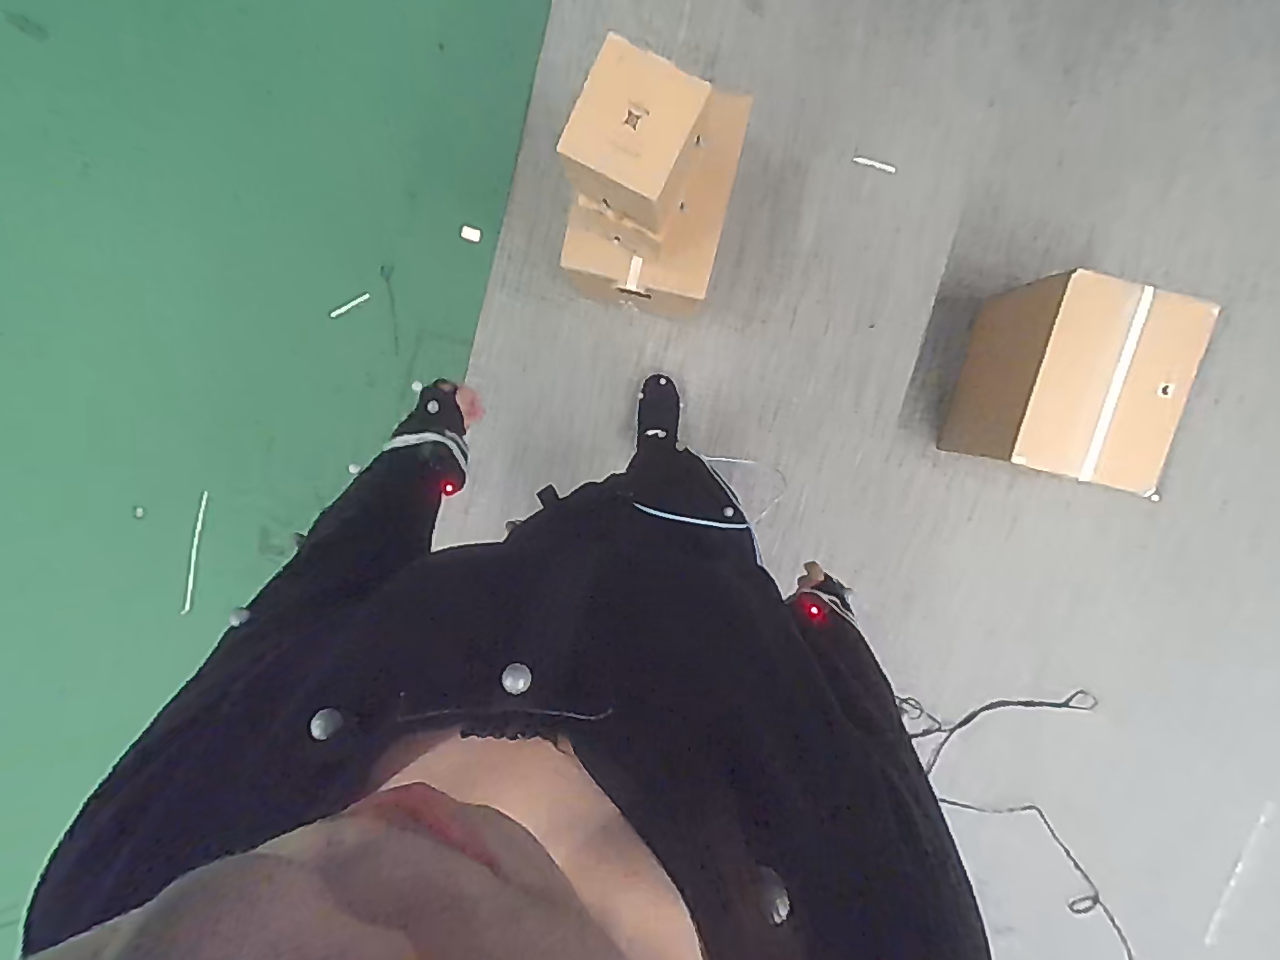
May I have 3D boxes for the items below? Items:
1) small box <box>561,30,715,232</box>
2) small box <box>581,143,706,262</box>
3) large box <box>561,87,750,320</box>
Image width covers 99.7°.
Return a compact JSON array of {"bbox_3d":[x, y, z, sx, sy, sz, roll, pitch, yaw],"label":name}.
[{"bbox_3d":[-0.002,-0.526,0.844,0.168,0.176,0.179,28,99,-1],"label":"small box"},{"bbox_3d":[0.007,-0.538,1.007,0.168,0.176,0.179,25,99,-1],"label":"small box"},{"bbox_3d":[0.033,-0.621,1.240,0.320,0.320,0.408,14,97,0],"label":"large box"}]
